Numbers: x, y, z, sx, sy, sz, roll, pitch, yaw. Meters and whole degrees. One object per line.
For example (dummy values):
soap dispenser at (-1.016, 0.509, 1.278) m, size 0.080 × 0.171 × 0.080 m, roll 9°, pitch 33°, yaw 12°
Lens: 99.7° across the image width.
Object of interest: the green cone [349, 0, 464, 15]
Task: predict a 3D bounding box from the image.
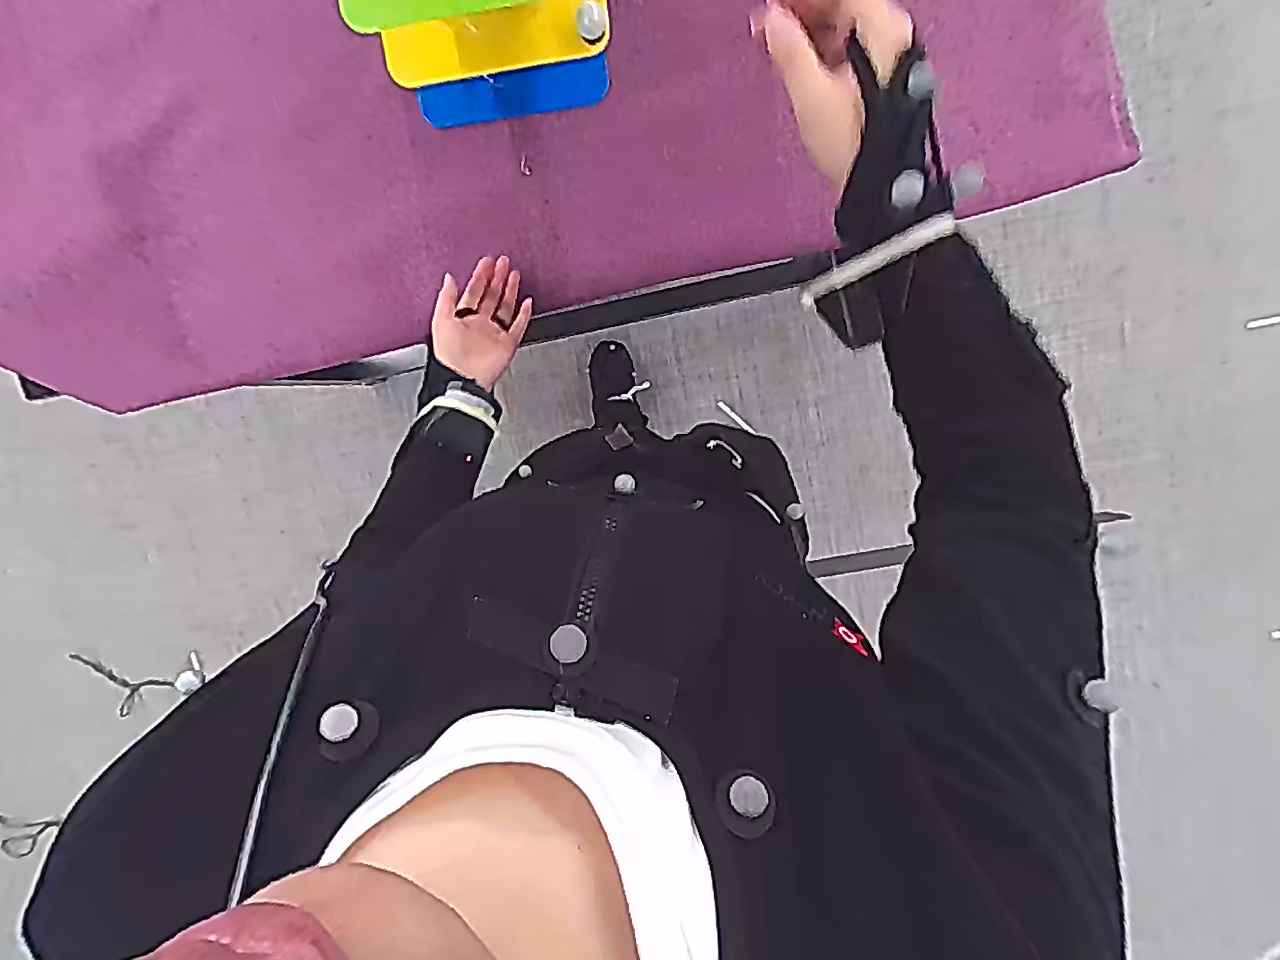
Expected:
green cone at (-0.145, -0.434, 0.211) m, size 0.200 × 0.368 × 0.202 m, roll -7°, pitch 93°, yaw 5°
